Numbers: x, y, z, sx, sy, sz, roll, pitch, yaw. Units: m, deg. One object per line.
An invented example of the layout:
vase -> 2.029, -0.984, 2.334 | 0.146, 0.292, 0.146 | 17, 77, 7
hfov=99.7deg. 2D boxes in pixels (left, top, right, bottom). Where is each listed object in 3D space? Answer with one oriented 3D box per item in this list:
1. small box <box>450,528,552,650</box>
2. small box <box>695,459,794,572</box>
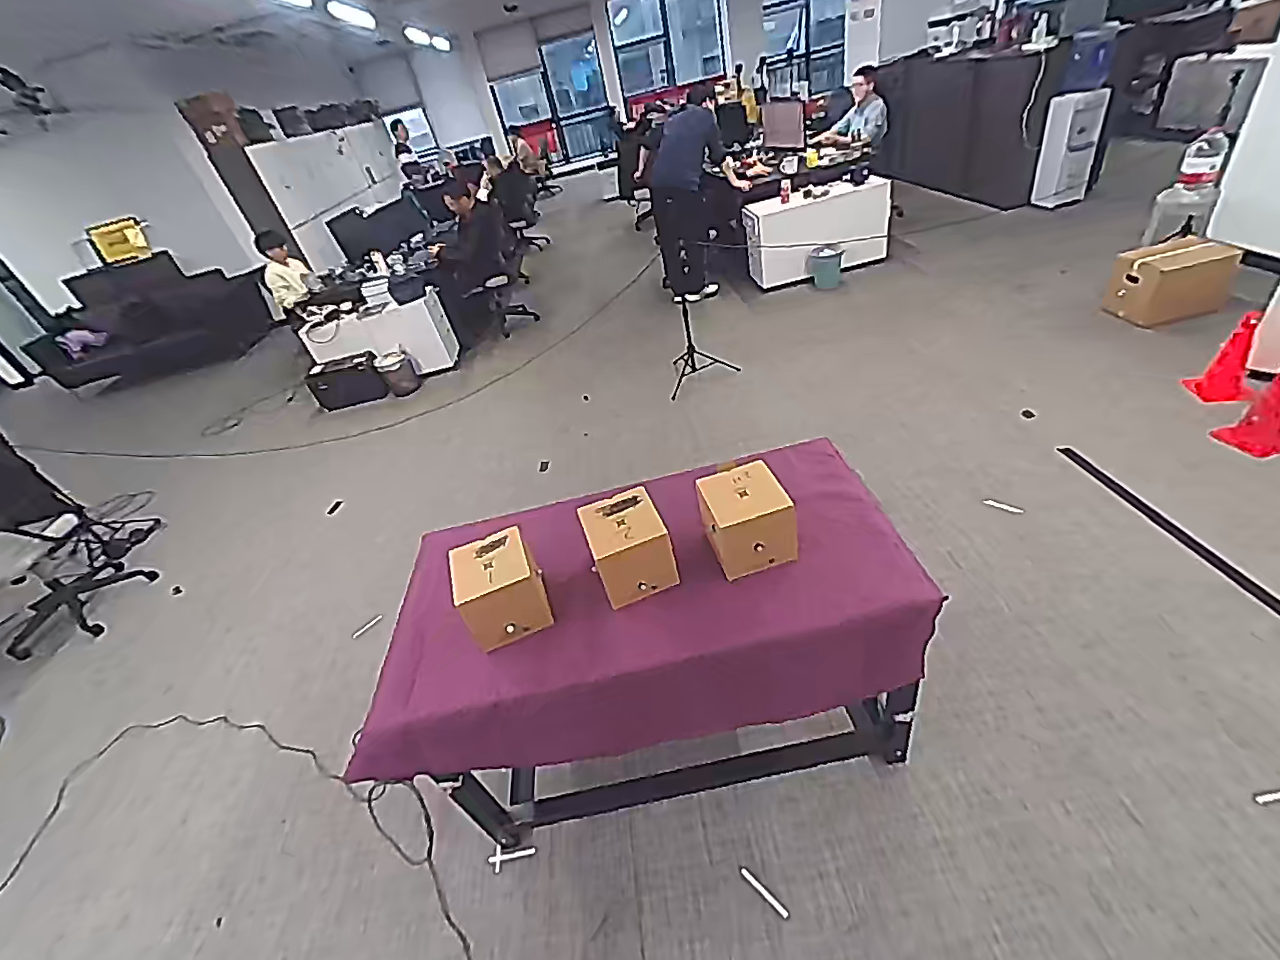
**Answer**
small box -> -0.312, 0.245, 1.218 | 0.168, 0.176, 0.179 | -22, 38, -8
small box -> 0.239, 0.086, 1.223 | 0.168, 0.176, 0.179 | -17, 37, -3
